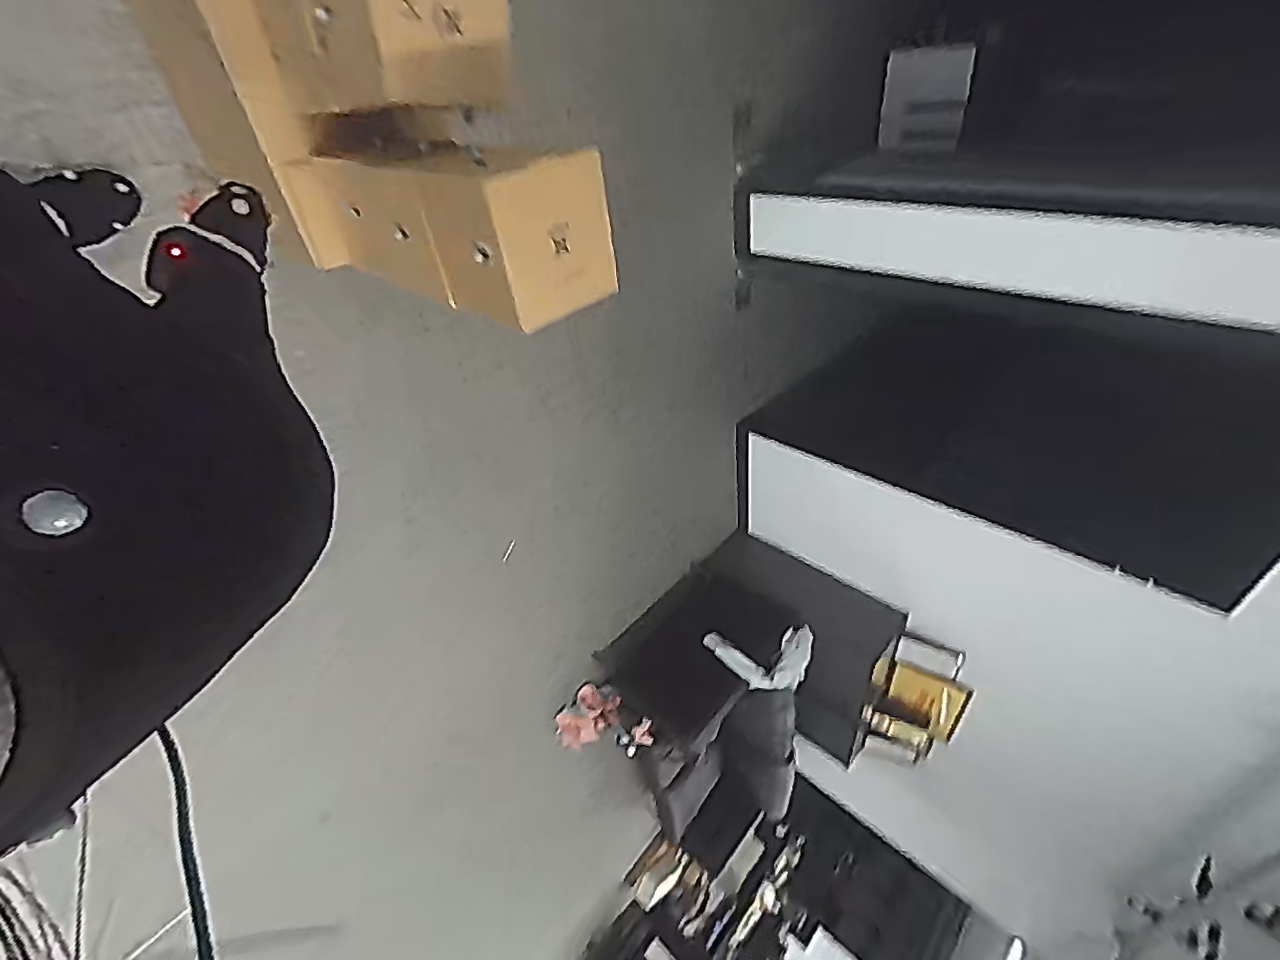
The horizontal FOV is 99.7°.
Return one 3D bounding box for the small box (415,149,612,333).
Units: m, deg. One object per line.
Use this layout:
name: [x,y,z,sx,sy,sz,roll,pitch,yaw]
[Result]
small box: [-0.161,-0.317,0.704,0.168,0.176,0.179,-36,137,-30]
